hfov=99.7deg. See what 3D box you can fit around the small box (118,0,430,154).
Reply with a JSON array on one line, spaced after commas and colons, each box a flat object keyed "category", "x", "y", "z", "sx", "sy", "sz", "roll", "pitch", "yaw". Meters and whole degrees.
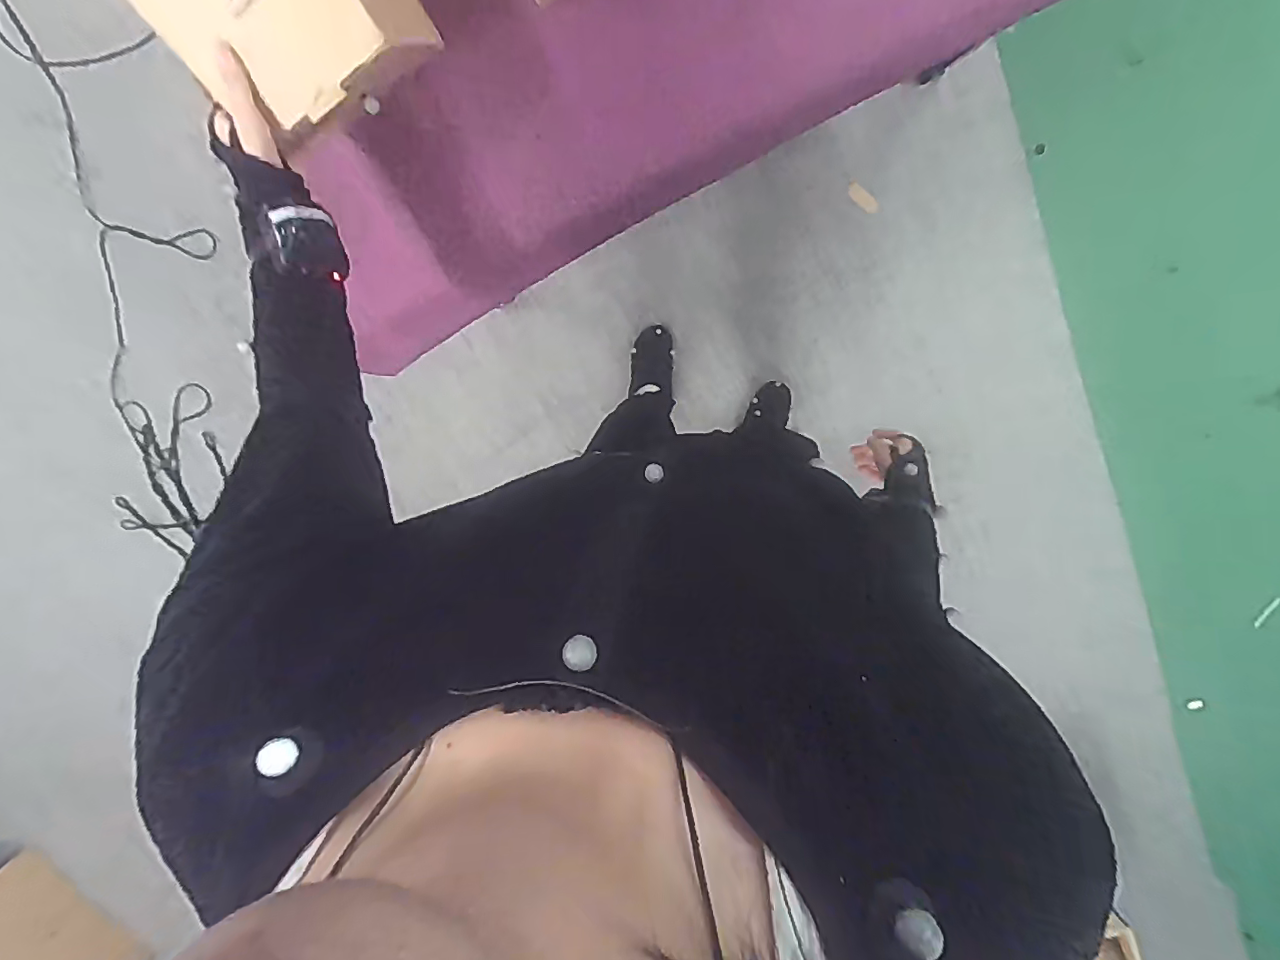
[{"category": "small box", "x": -0.324, "y": -0.440, "z": 0.486, "sx": 0.168, "sy": 0.176, "sz": 0.179, "roll": -23, "pitch": 127, "yaw": 20}]
